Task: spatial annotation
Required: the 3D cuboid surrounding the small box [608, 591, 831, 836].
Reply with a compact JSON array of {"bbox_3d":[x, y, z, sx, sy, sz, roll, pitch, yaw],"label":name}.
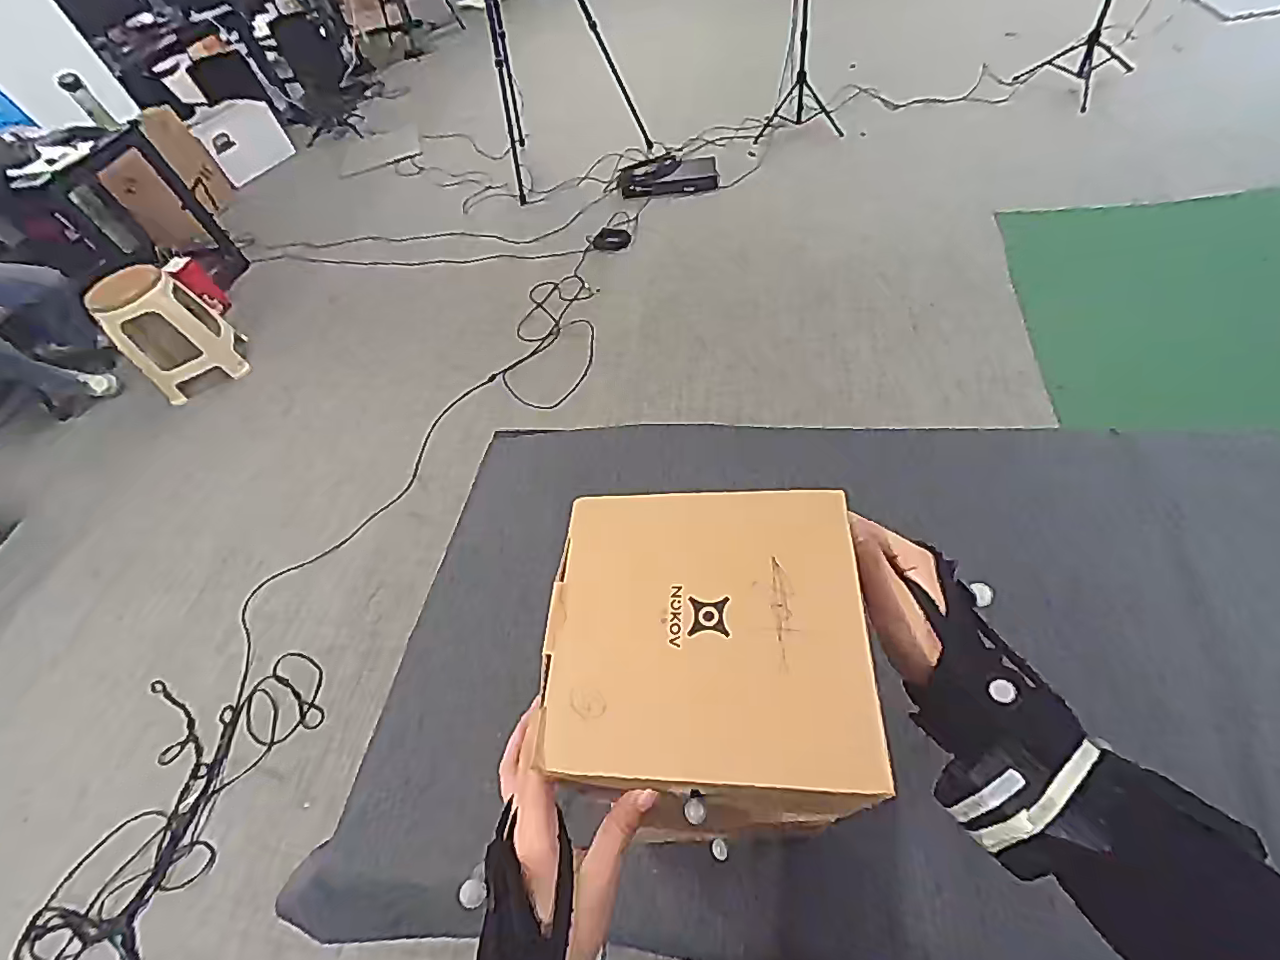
[{"bbox_3d":[0.068,0.224,0.506,0.168,0.176,0.179,-7,54,7],"label":"small box"}]
